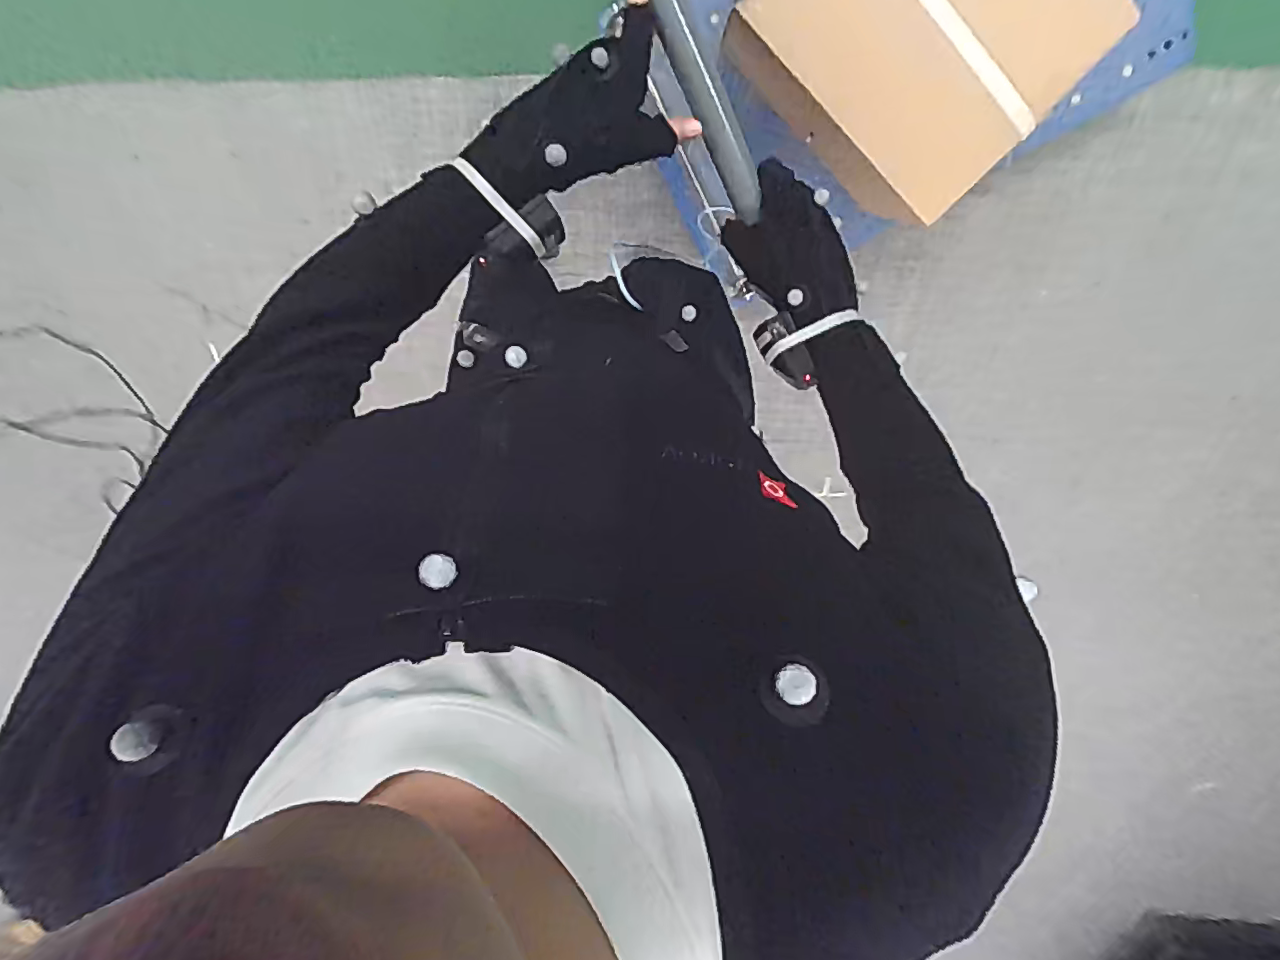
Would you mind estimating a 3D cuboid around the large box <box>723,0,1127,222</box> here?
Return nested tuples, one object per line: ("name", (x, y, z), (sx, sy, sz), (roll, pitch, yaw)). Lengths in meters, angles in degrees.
("large box", (0.376, -0.663, 0.815), (0.408, 0.320, 0.320), (38, 116, -15))
